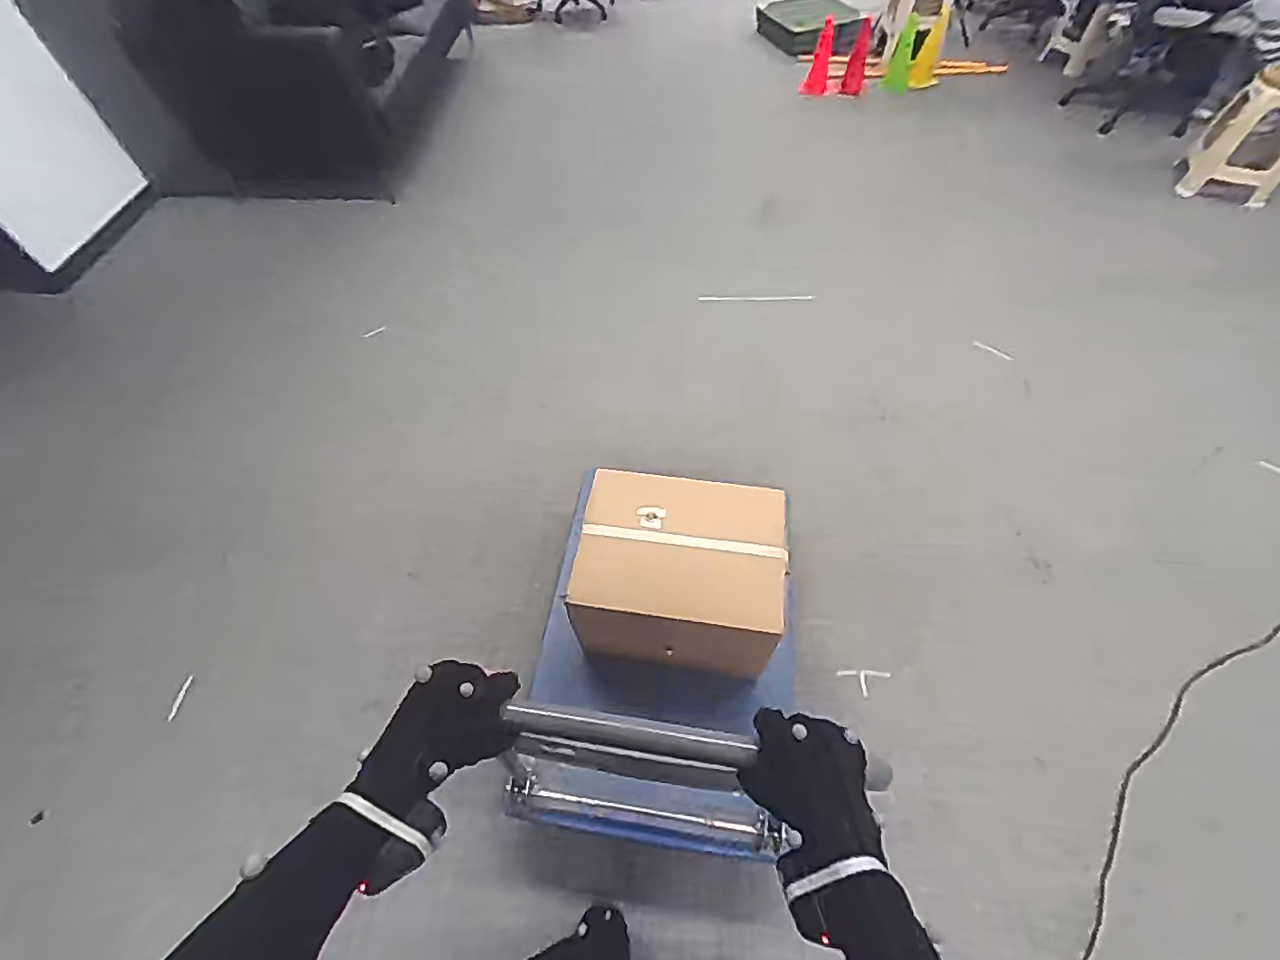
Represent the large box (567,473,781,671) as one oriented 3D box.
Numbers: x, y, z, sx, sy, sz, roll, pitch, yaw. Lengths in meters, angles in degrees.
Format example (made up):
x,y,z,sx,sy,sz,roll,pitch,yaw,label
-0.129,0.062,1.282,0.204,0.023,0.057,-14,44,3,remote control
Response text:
x,y,z,sx,sy,sz,roll,pitch,yaw,label
0.086,0.210,1.202,0.408,0.320,0.320,6,55,7,large box
